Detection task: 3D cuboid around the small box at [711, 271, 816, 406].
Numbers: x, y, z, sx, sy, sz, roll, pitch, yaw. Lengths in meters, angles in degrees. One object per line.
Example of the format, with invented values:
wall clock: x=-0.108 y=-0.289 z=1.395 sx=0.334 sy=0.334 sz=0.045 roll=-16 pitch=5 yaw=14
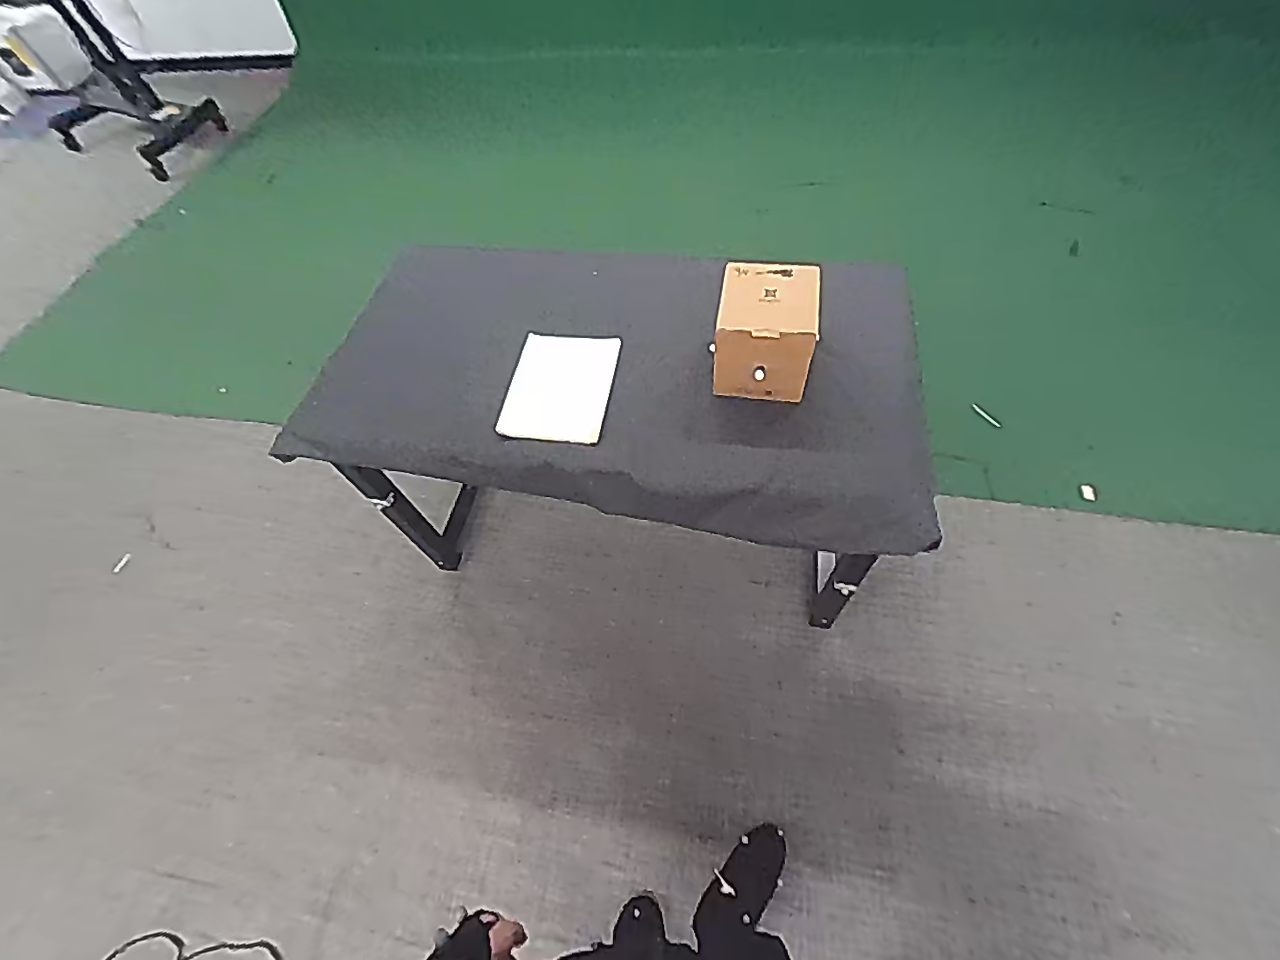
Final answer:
small box: x=0.223 y=-0.256 z=0.995 sx=0.168 sy=0.176 sz=0.179 roll=7 pitch=60 yaw=10
